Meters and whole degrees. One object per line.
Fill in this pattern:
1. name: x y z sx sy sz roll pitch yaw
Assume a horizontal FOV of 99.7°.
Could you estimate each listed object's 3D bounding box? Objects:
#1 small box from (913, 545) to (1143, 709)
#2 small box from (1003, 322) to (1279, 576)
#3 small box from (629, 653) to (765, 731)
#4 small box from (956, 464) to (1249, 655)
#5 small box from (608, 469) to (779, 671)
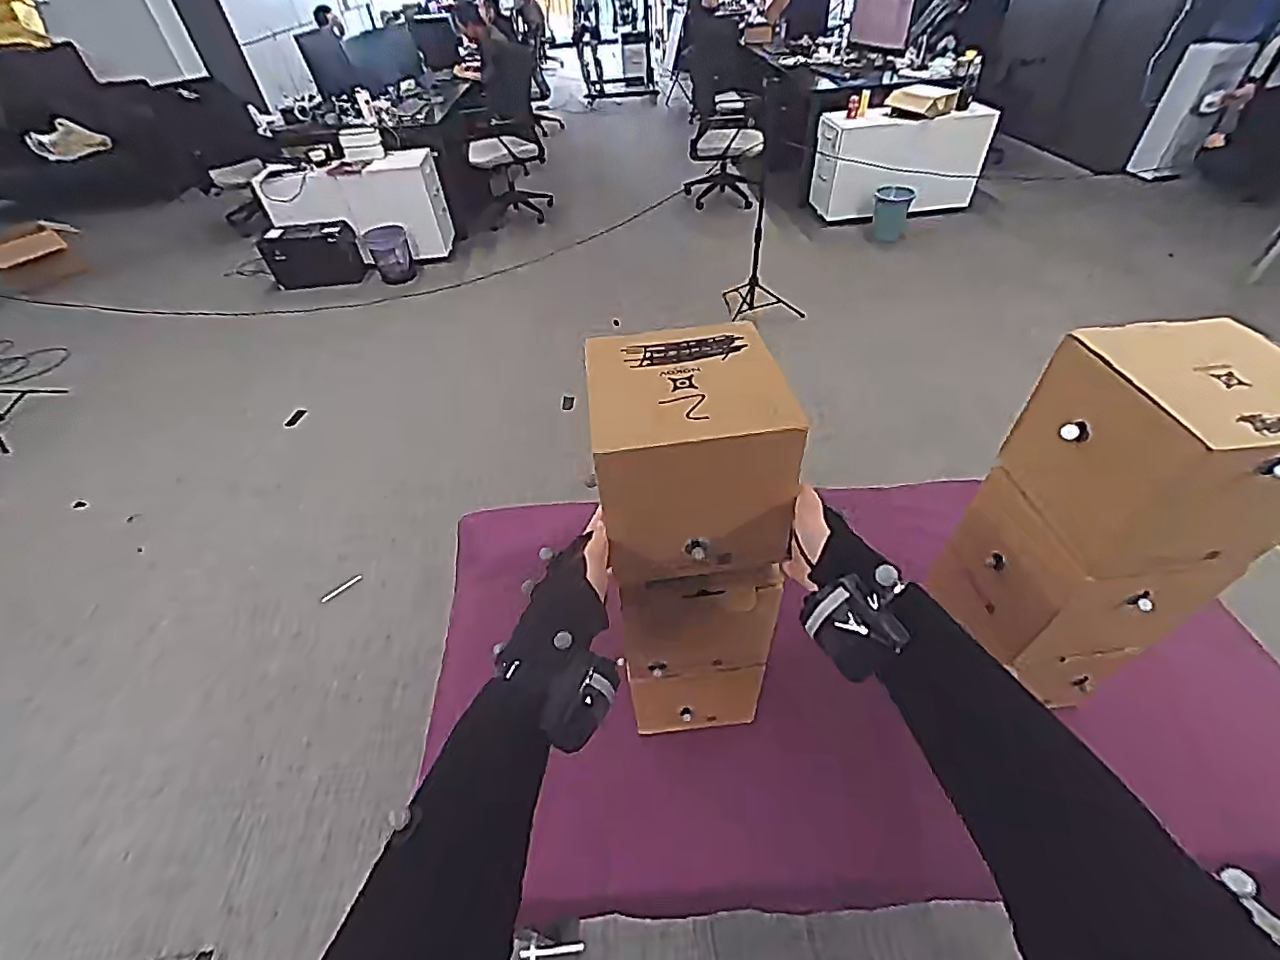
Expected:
1. small box: 0.514 0.203 0.752 0.168 0.176 0.179 -5 45 -1
2. small box: 0.500 -0.031 0.521 0.168 0.176 0.179 -6 45 -1
3. small box: 0.066 0.229 0.764 0.168 0.176 0.179 -6 46 -2
4. small box: 0.505 0.089 0.633 0.179 0.176 0.168 -6 46 -2
5. small box: 0.056 0.113 0.648 0.168 0.176 0.179 -6 45 -3
